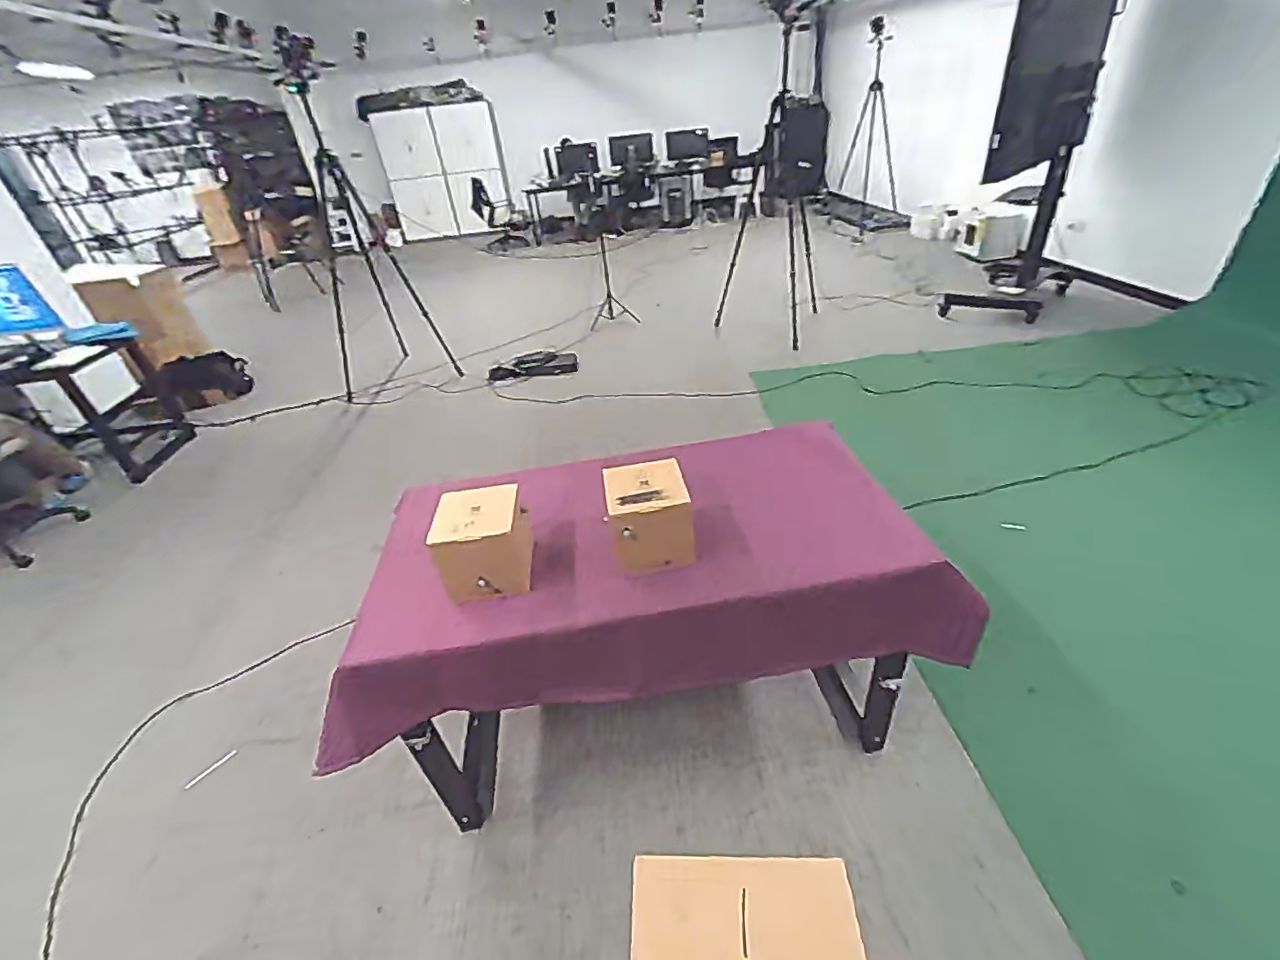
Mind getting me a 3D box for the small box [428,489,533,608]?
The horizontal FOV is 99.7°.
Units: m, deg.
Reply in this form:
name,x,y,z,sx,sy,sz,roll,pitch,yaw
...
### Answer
name,x,y,z,sx,sy,sz,roll,pitch,yaw
small box,-0.329,0.144,1.152,0.168,0.176,0.179,-9,34,-2
